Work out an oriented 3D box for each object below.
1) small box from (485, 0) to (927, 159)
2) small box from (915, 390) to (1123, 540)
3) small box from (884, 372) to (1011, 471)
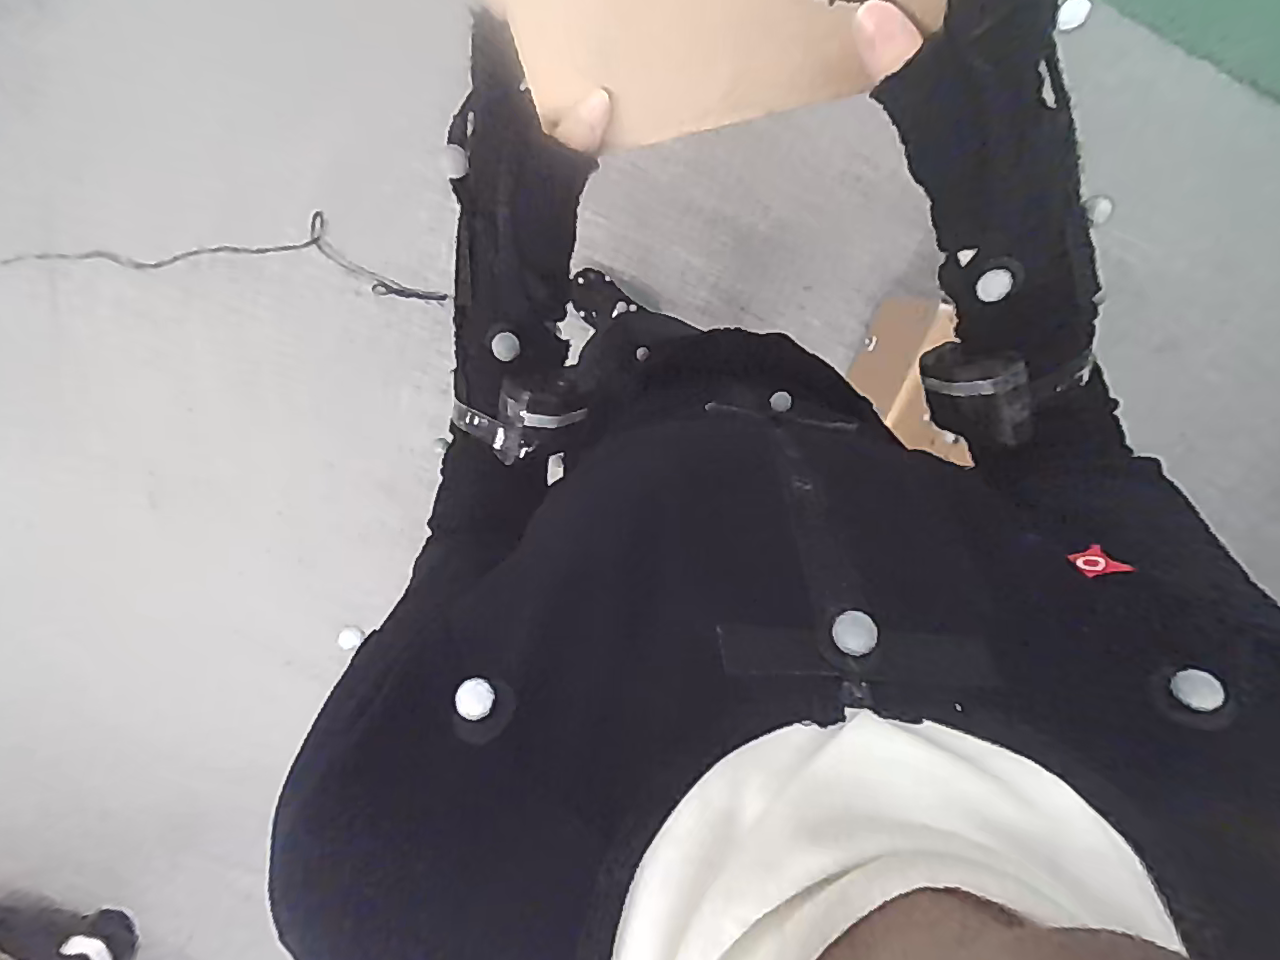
[{"bbox_3d":[0.020,-0.279,0.242,0.179,0.176,0.168,-7,137,13],"label":"small box"},{"bbox_3d":[0.575,-0.034,0.853,0.179,0.176,0.168,19,109,-3],"label":"small box"},{"bbox_3d":[0.588,-0.088,1.006,0.168,0.176,0.179,21,109,-4],"label":"small box"}]
